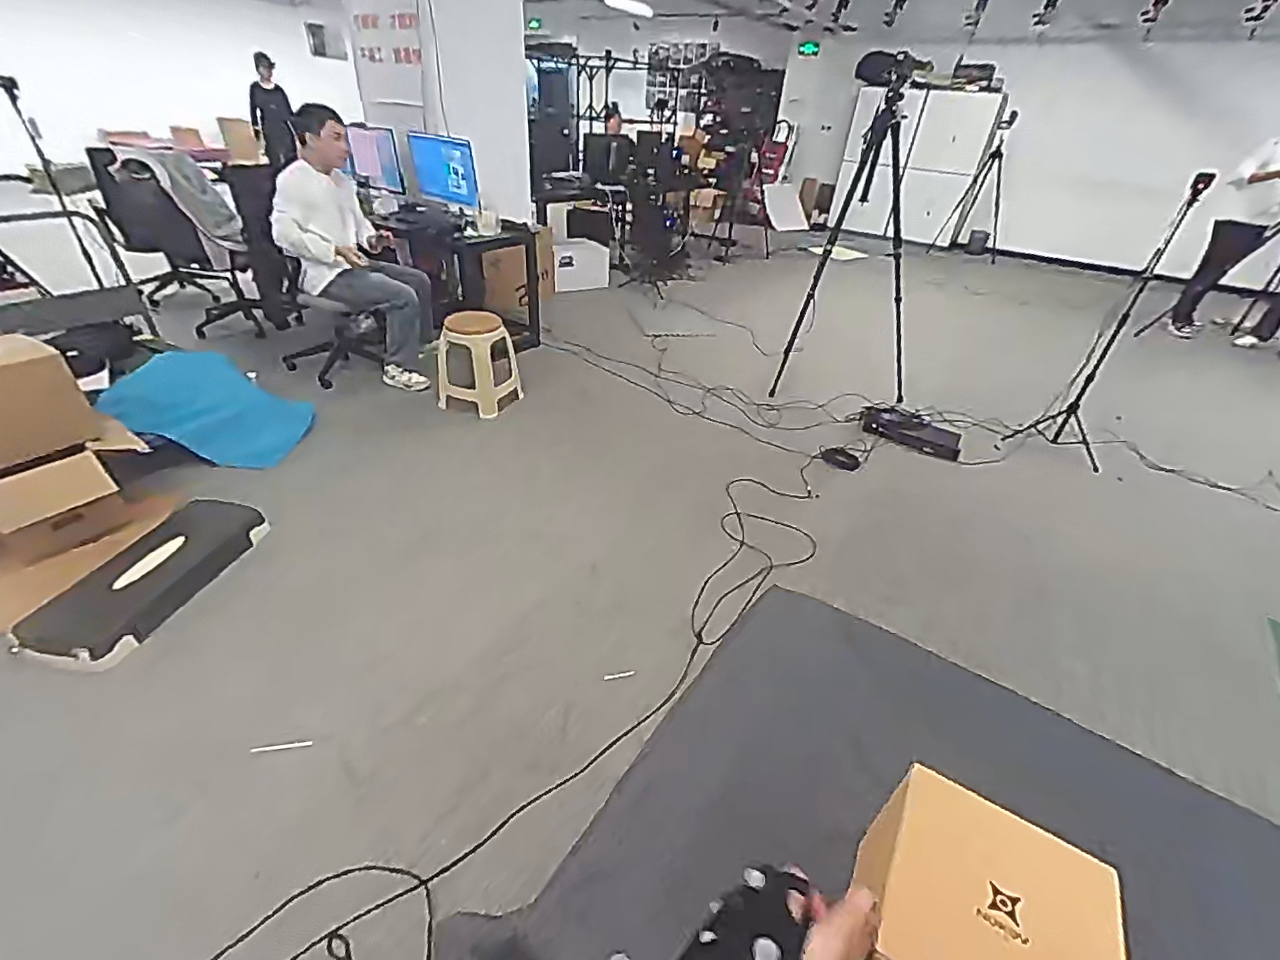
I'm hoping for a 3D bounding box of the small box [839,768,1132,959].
[{"bbox_3d":[0.287,0.409,0.473,0.168,0.176,0.179,23,38,24],"label":"small box"}]
